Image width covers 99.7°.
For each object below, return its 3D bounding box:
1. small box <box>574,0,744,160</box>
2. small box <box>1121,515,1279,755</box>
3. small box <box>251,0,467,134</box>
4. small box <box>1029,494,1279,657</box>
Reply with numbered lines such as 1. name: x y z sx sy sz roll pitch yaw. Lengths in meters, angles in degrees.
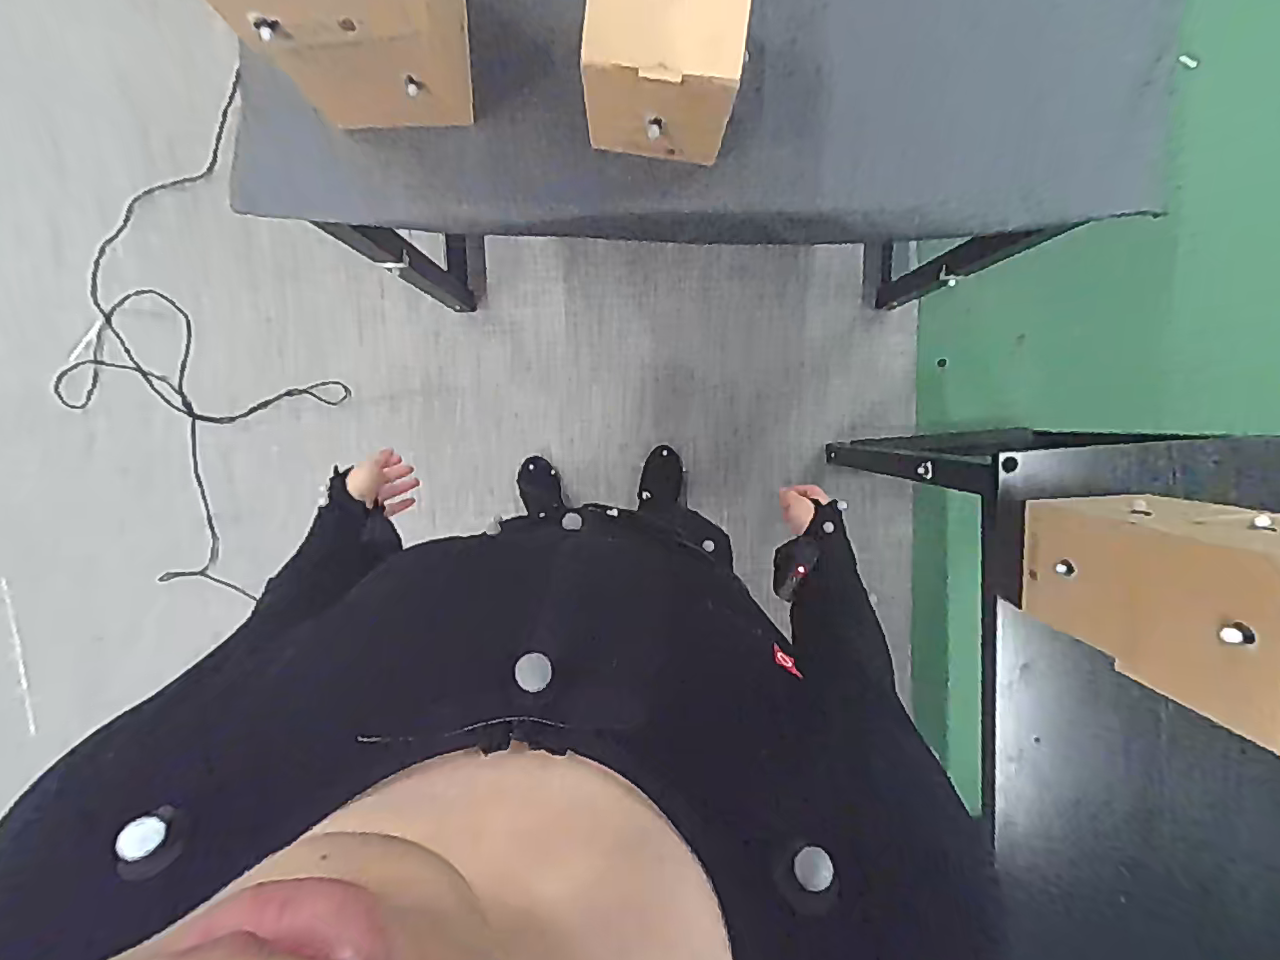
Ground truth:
1. small box: 0.026 -0.498 0.616 0.168 0.176 0.179 7 95 -1
2. small box: 0.618 0.136 0.522 0.168 0.176 0.179 -3 96 0
3. small box: -0.306 -0.524 0.614 0.179 0.176 0.168 -3 94 1
4. small box: 0.633 0.111 0.683 0.179 0.176 0.168 -3 97 0
